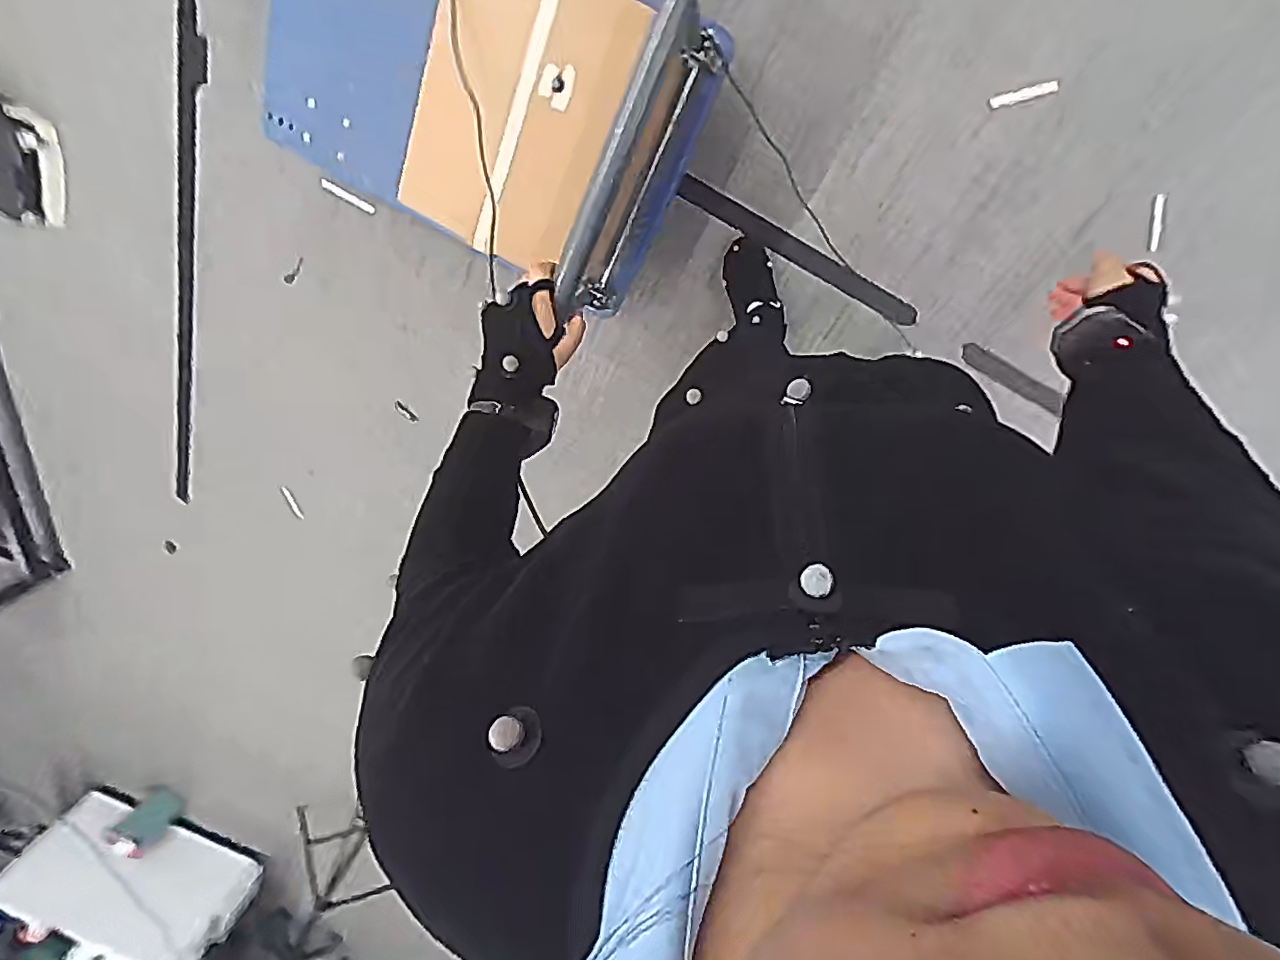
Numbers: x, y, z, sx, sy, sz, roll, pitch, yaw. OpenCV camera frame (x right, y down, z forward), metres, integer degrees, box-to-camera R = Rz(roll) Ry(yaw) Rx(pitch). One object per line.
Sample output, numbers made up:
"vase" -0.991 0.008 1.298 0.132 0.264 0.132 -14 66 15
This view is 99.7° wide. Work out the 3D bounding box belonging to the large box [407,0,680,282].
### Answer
"large box" -0.162 -0.626 0.974 0.320 0.320 0.408 26 118 -4
